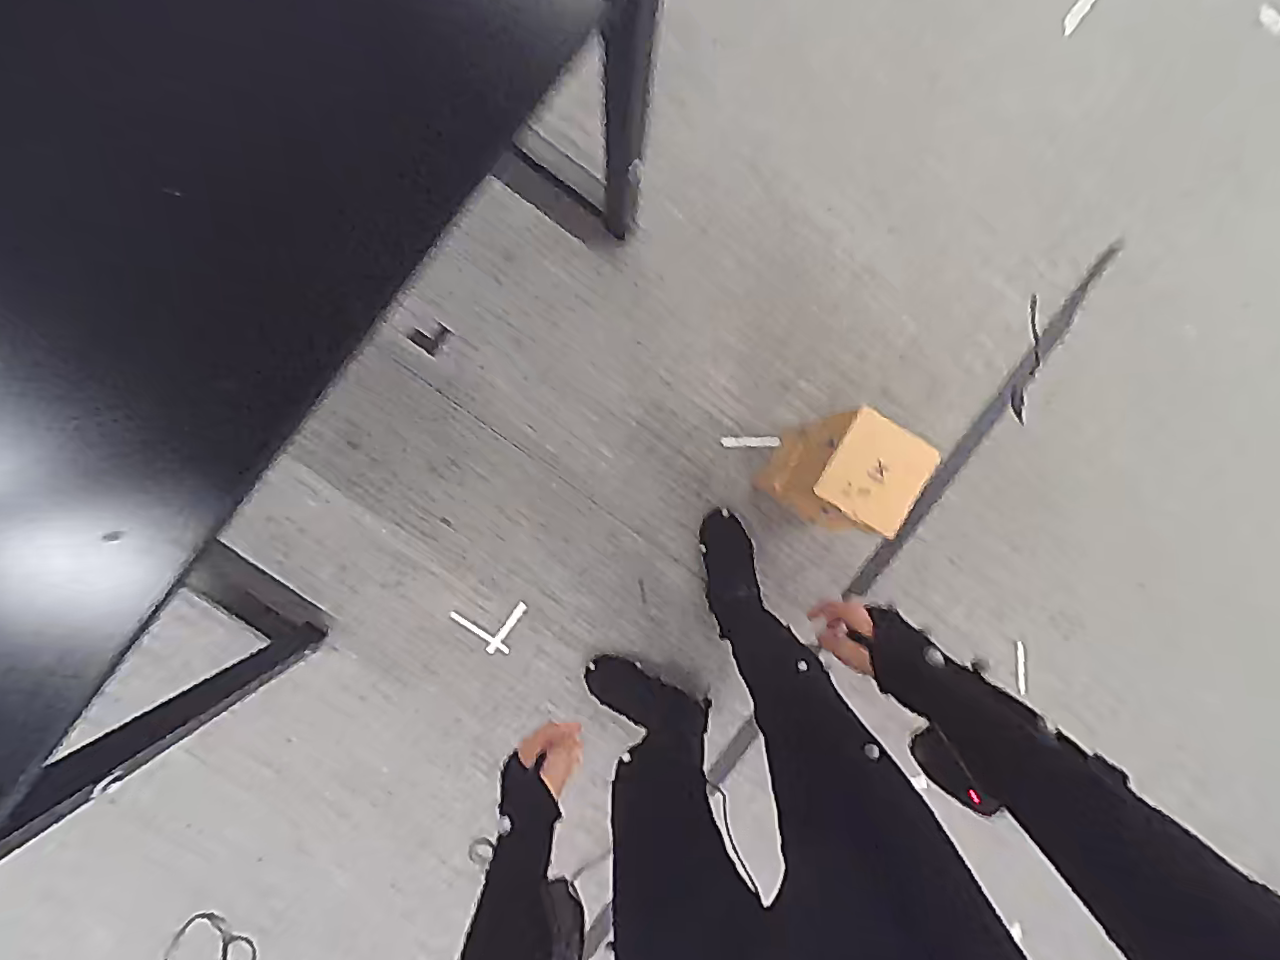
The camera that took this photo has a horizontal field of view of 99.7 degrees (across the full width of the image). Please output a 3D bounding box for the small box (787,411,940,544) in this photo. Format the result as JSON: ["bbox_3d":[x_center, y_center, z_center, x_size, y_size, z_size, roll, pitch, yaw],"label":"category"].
[{"bbox_3d":[0.402,-0.008,1.007,0.168,0.176,0.179,31,90,-4],"label":"small box"}]
